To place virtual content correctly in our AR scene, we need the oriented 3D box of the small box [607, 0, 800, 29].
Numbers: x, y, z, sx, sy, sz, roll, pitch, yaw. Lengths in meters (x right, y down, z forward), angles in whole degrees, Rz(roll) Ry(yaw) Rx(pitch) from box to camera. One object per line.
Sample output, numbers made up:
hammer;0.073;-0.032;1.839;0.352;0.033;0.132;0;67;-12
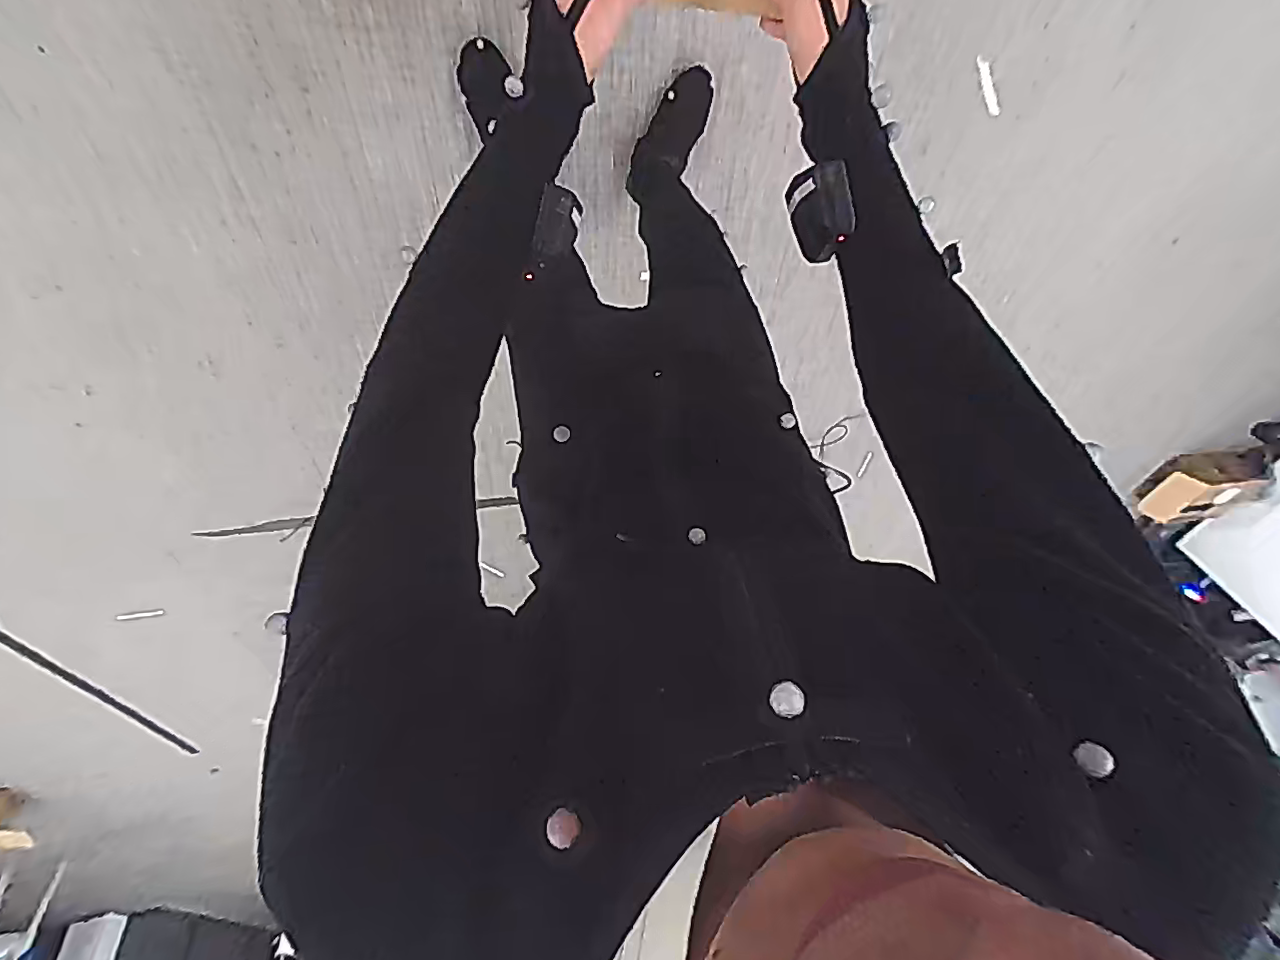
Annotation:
small box;0.052;-0.516;0.455;0.179;0.176;0.168;-3;142;-12
